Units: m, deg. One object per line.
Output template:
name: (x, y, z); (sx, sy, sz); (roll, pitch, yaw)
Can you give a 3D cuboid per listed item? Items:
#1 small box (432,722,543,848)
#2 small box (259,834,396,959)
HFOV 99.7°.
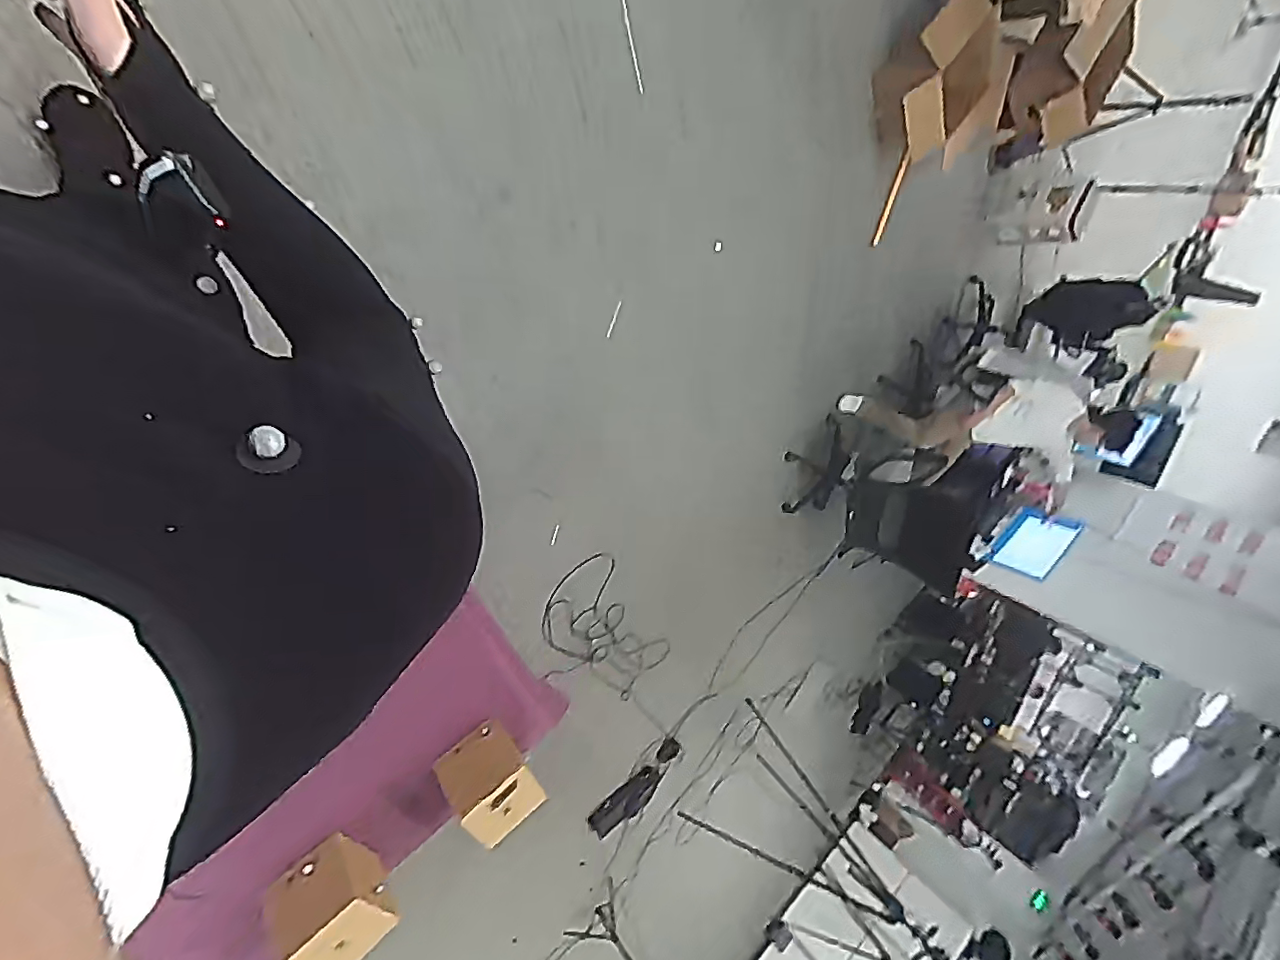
small box: (-0.361, 0.710, 1.278); (0.168, 0.176, 0.179); (-34, 131, -24)
small box: (-0.644, 0.881, 1.117); (0.168, 0.176, 0.179); (-36, 132, -24)
